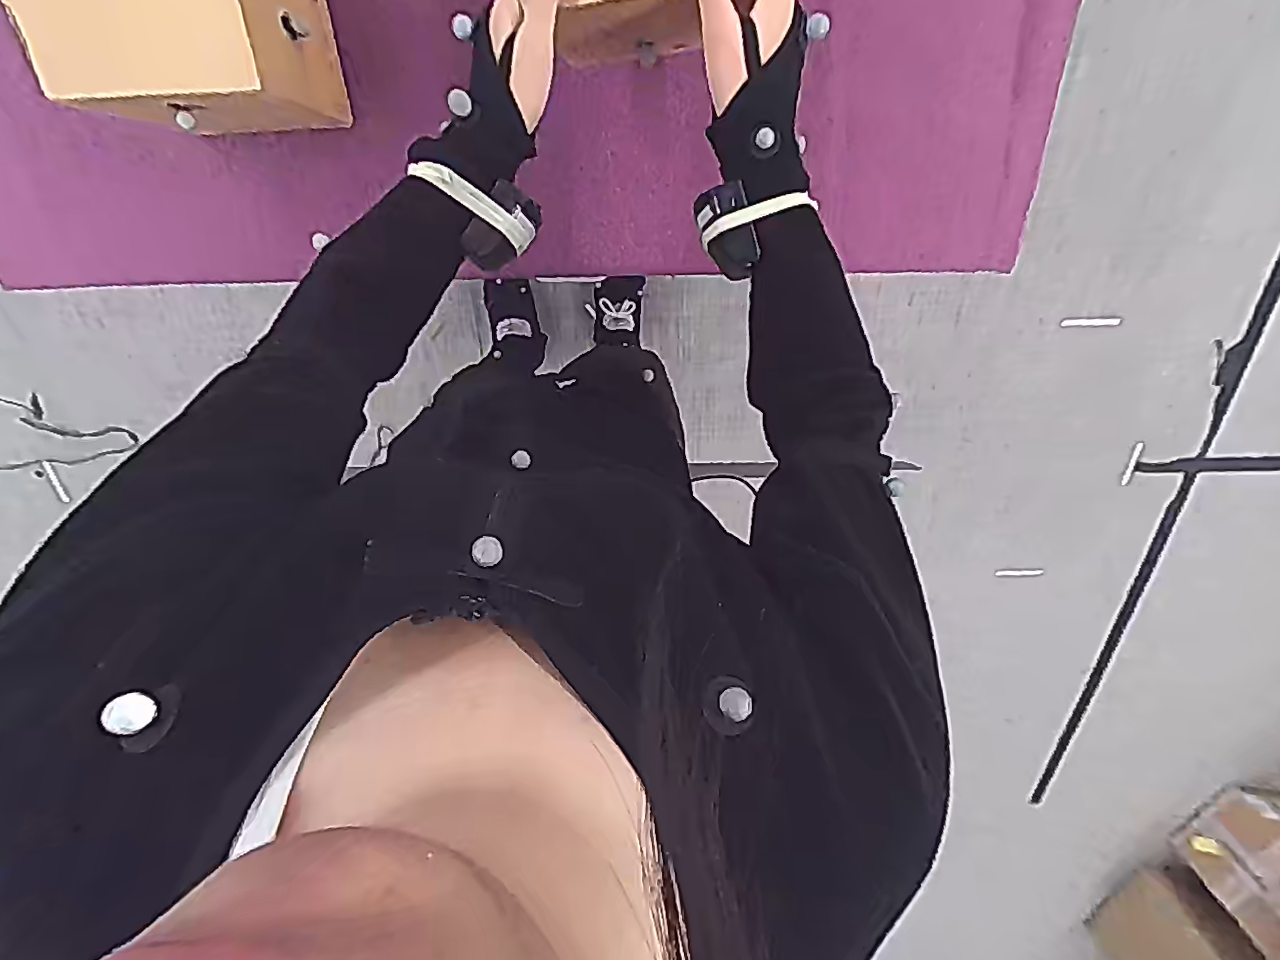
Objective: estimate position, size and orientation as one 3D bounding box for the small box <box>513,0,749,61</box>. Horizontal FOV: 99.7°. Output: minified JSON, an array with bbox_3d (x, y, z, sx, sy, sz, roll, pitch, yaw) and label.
[{"bbox_3d":[-0.006,-0.434,0.387,0.168,0.176,0.179,-2,118,7],"label":"small box"}]

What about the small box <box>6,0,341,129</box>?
[{"bbox_3d":[-0.390,-0.414,0.469,0.179,0.176,0.168,-2,115,0],"label":"small box"}]
